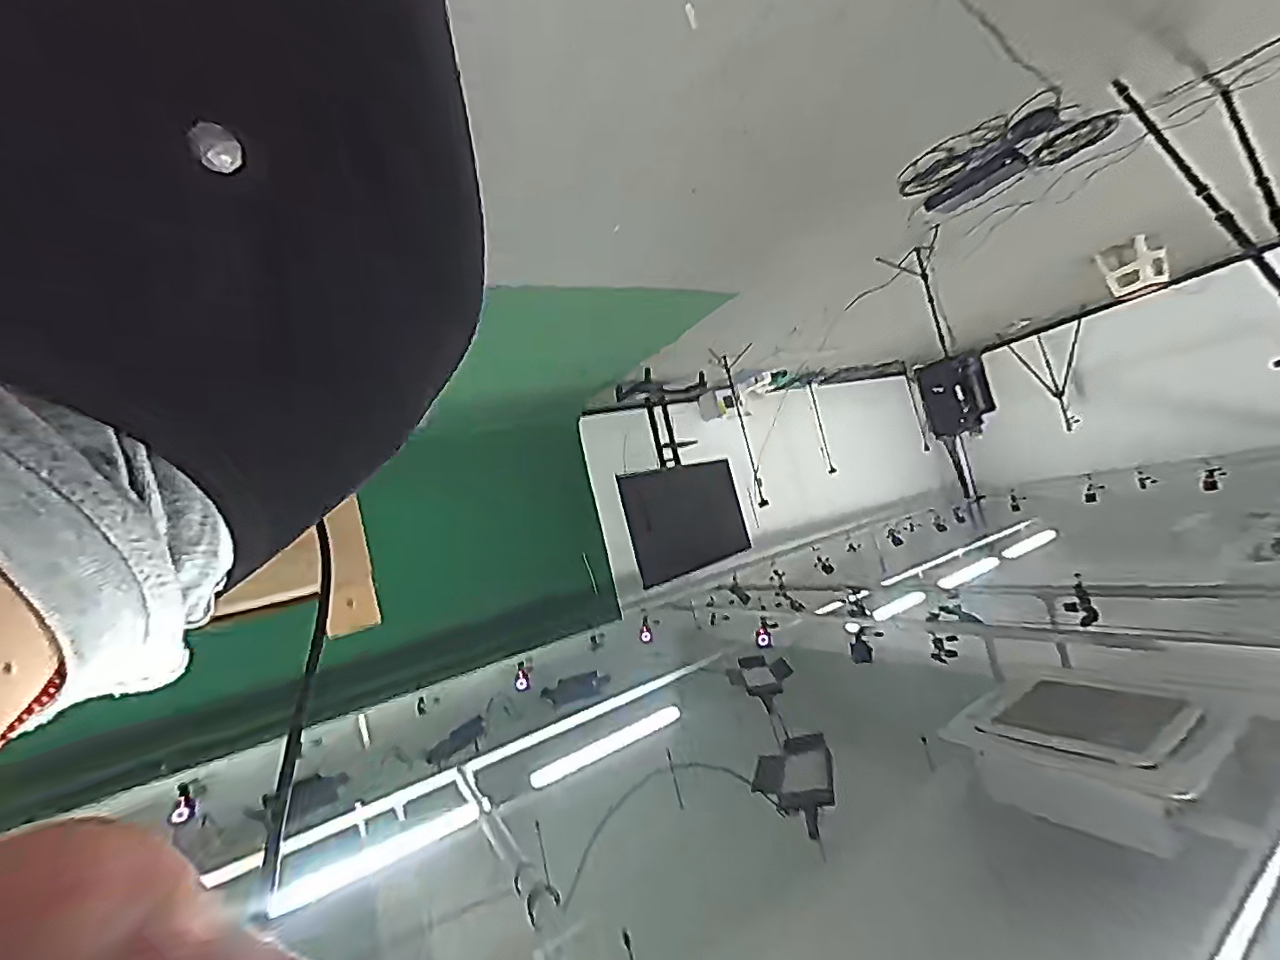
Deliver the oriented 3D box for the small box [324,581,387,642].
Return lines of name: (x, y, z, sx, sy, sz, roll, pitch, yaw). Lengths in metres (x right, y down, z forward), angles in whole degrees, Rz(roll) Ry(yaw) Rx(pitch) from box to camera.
small box: (-1.013, 0.460, 1.921, 0.168, 0.176, 0.179, -14, 176, -29)
